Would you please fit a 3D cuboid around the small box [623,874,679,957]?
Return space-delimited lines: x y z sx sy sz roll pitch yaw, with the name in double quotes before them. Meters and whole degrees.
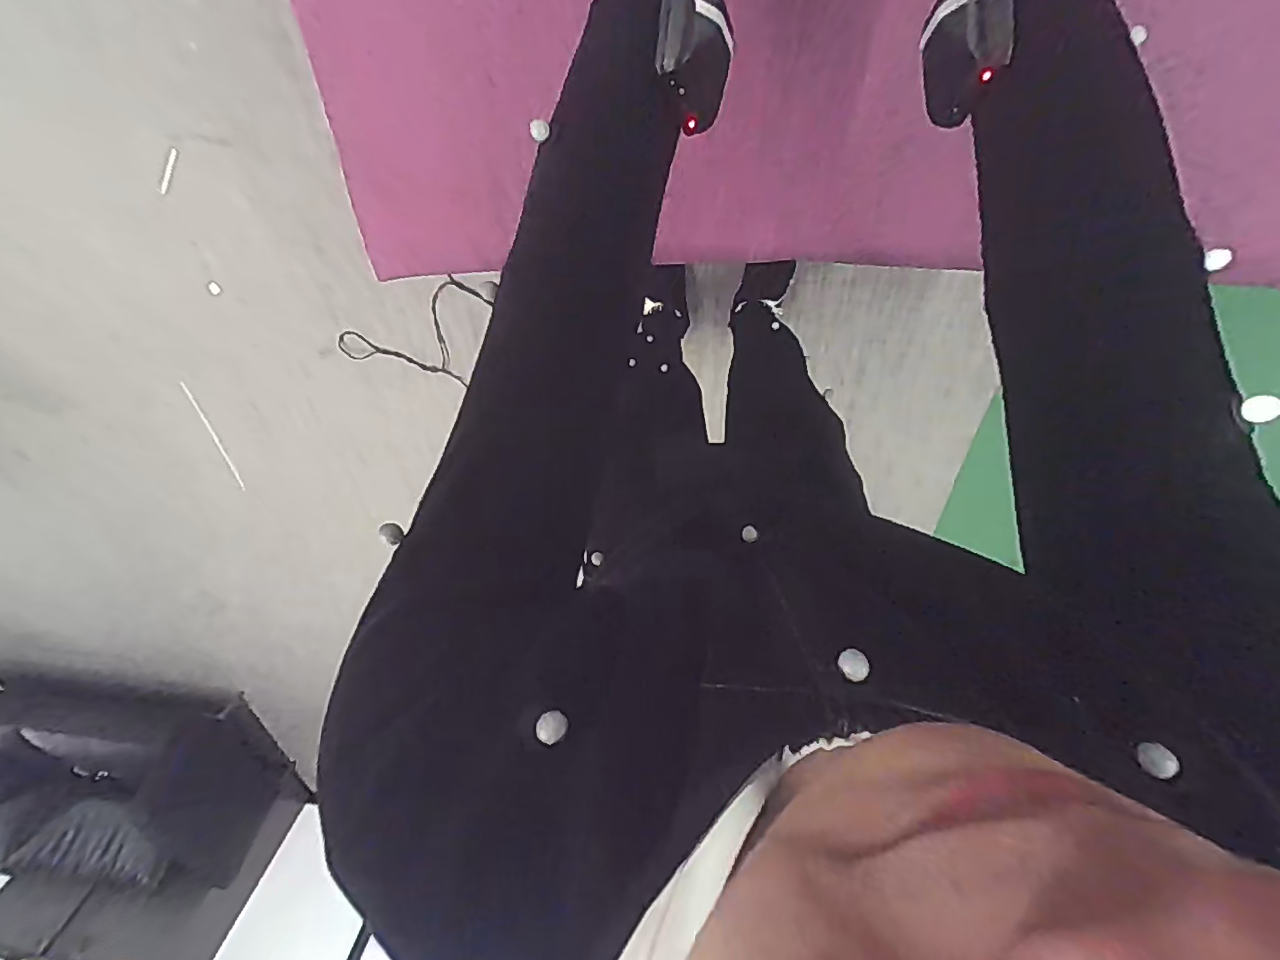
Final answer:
"small box" 0.042 1.506 1.870 0.168 0.176 0.179 8 126 4
